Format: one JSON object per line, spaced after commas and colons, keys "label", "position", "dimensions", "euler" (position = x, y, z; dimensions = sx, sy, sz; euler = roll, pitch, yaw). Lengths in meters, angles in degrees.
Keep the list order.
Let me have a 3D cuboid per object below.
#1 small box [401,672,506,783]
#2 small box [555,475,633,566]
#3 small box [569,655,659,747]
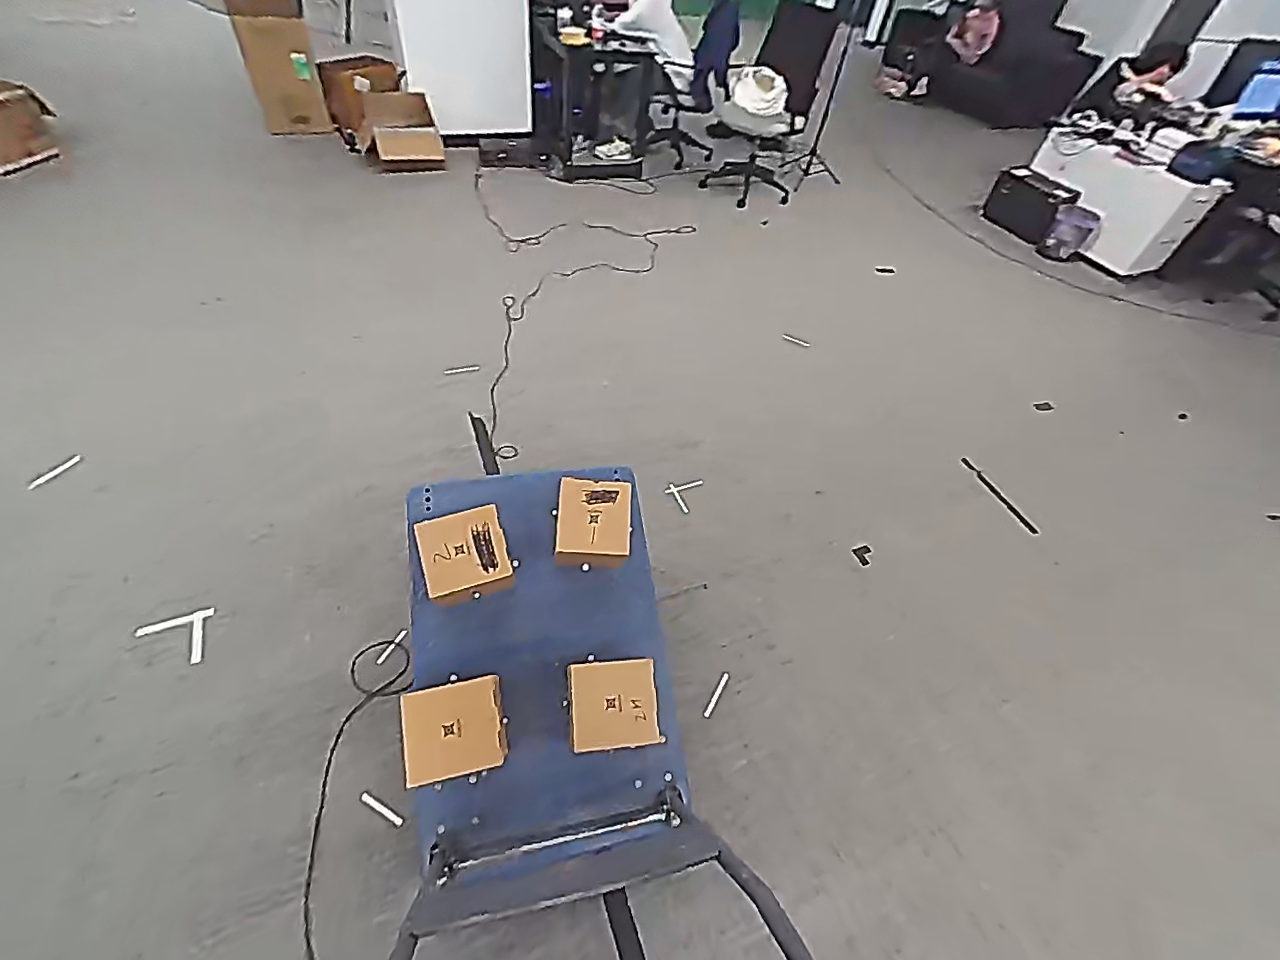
{"label": "small box", "position": [-0.374, 0.498, 1.106], "dimensions": [0.179, 0.176, 0.168], "euler": [-8, 72, -15]}
{"label": "small box", "position": [-0.115, 0.102, 1.299], "dimensions": [0.168, 0.176, 0.179], "euler": [5, 71, -9]}
{"label": "small box", "position": [-0.064, 0.475, 1.173], "dimensions": [0.179, 0.176, 0.168], "euler": [-1, 71, -11]}
